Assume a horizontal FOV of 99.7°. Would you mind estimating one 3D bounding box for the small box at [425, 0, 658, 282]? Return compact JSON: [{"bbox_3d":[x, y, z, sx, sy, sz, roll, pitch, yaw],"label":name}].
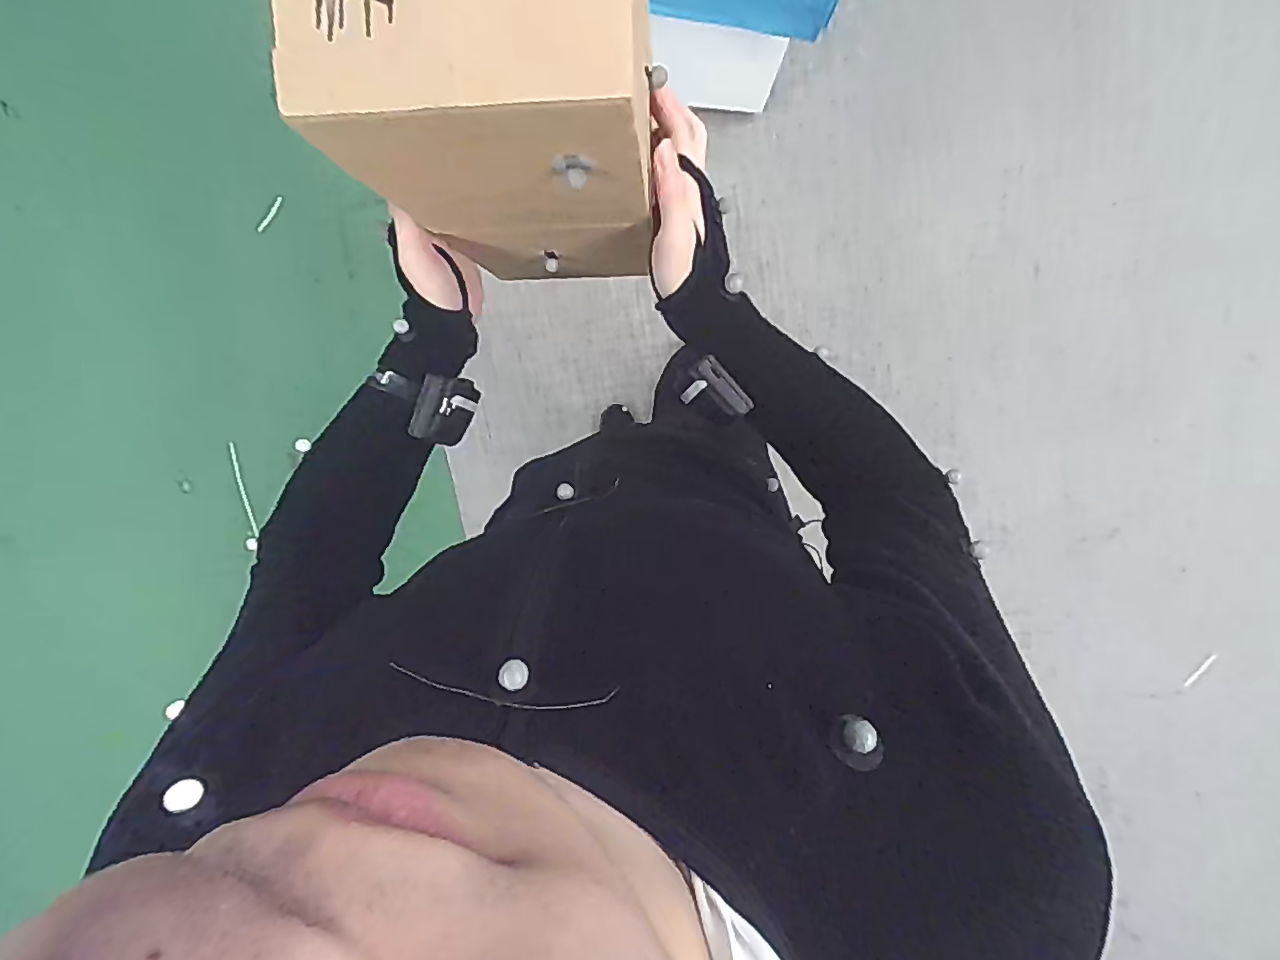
[{"bbox_3d":[-0.072,-0.286,0.495,0.179,0.176,0.168,-1,97,5],"label":"small box"}]
